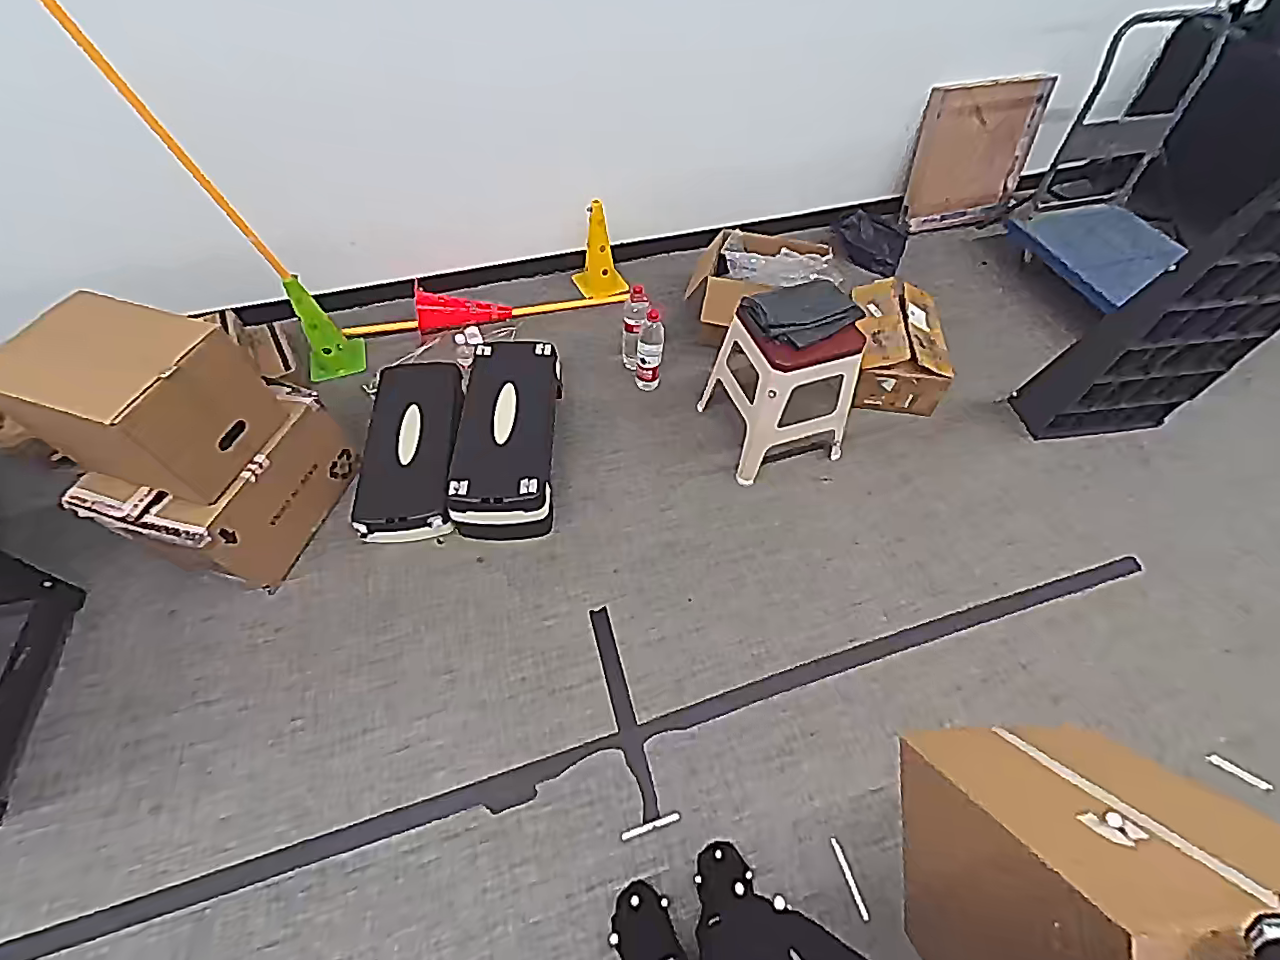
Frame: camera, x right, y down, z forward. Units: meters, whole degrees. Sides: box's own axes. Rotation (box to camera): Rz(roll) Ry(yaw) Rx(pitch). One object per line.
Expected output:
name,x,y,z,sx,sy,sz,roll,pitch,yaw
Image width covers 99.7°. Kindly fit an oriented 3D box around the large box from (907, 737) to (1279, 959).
large box,0.581,0.565,0.669,0.320,0.408,0.320,-1,89,-1
